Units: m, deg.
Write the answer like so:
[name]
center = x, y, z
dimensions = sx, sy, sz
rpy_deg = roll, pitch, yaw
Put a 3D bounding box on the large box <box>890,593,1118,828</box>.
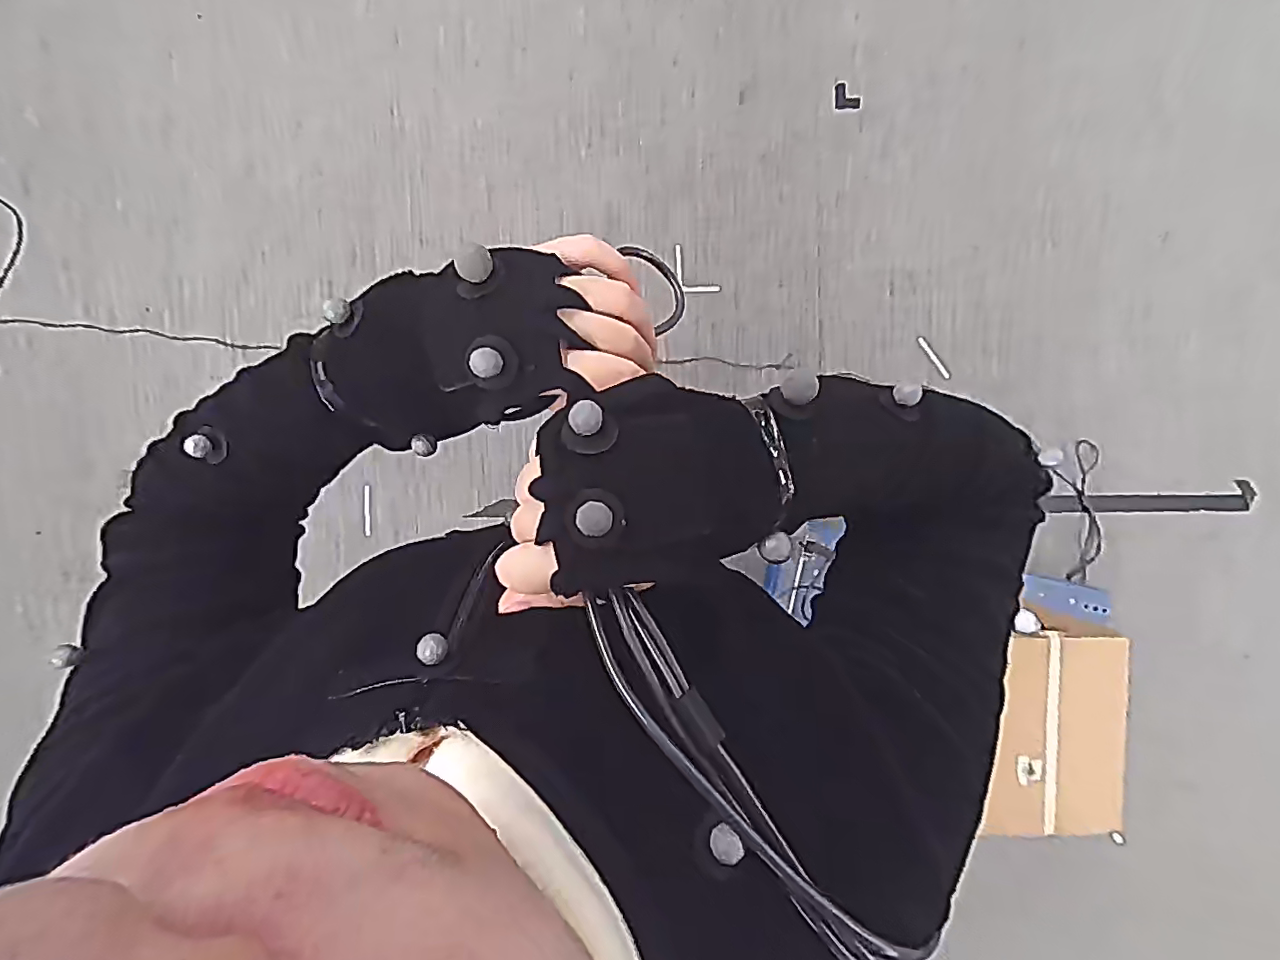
[large box]
center = 0.792, 0.491, 1.226
dimensions = 0.320, 0.320, 0.408
rpy_deg = 1, 93, -1
